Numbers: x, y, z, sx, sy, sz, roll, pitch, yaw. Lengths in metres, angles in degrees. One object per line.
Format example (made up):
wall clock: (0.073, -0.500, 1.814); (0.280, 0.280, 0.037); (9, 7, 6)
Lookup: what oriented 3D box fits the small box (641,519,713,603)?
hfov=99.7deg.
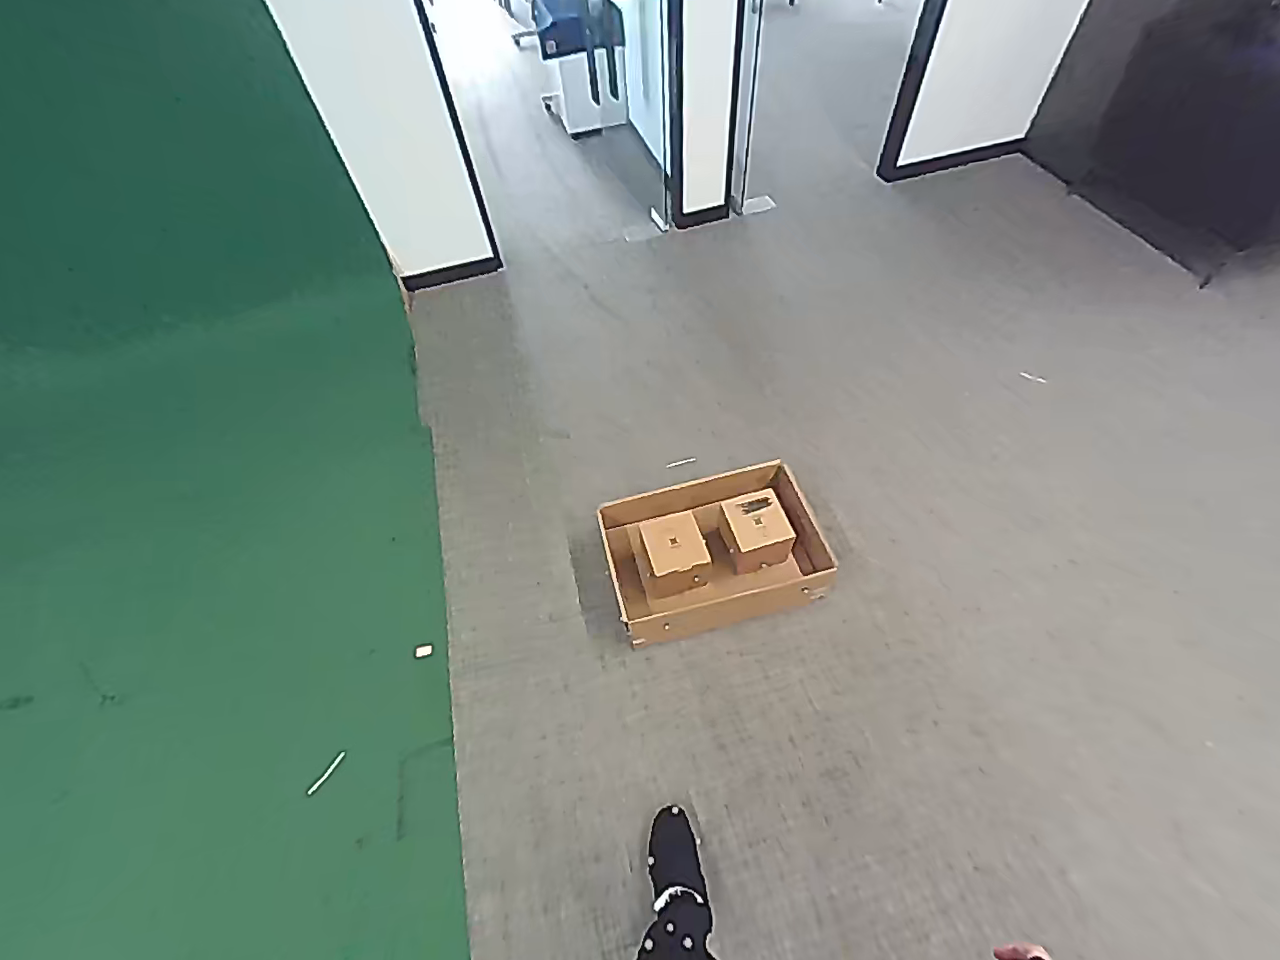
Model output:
small box: (0.107, 0.247, 1.599); (0.168, 0.176, 0.179); (-14, 54, -8)
